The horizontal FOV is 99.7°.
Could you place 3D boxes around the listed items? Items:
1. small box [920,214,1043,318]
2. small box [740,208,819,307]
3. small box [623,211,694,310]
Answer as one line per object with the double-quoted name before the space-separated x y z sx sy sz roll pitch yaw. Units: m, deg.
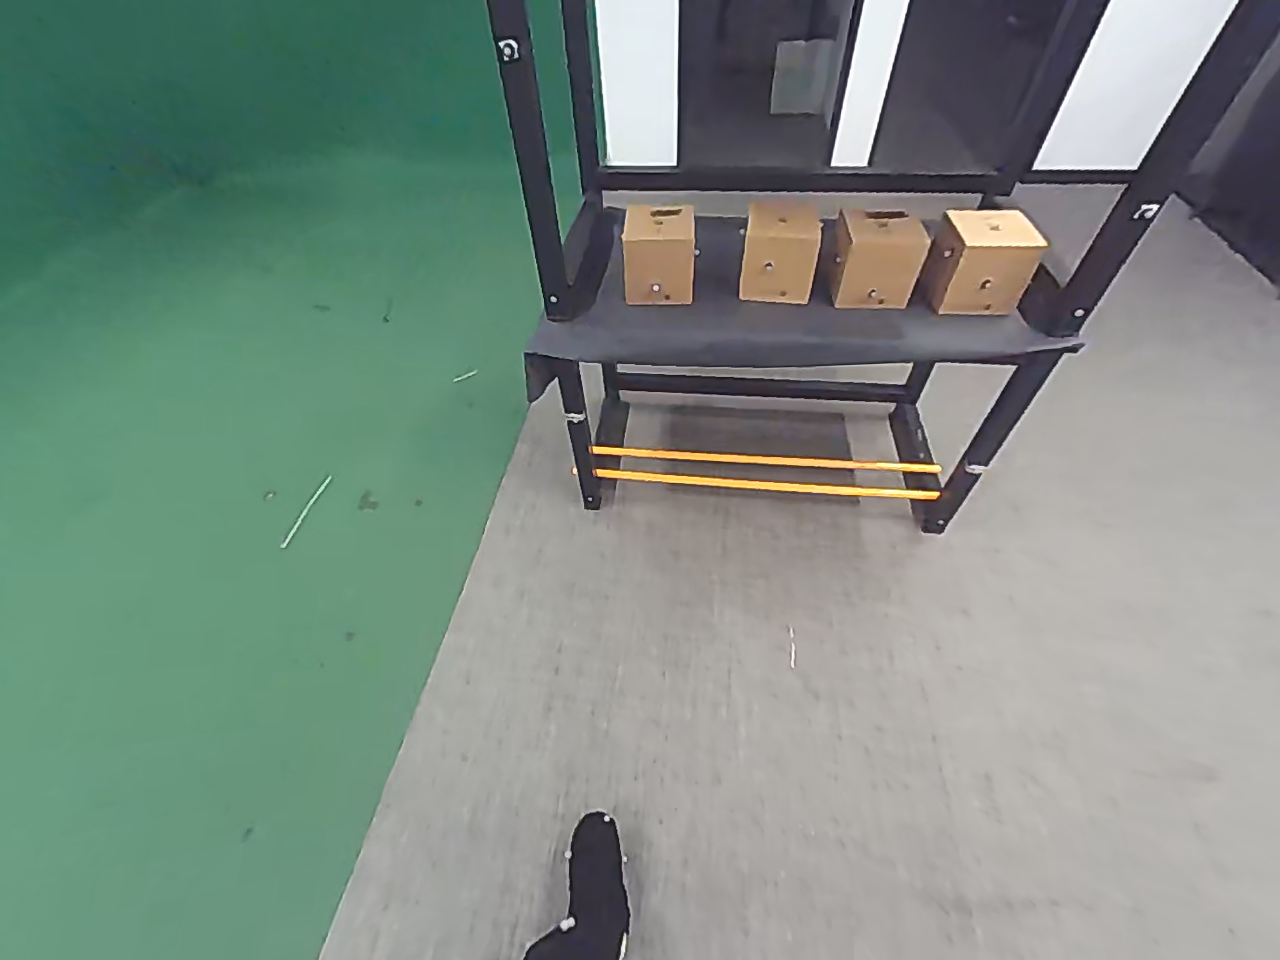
"small box" 0.776 -0.492 1.251 0.168 0.176 0.179 2 49 5
"small box" 0.337 -0.541 1.321 0.168 0.176 0.179 6 50 8
"small box" 0.048 -0.541 1.332 0.168 0.176 0.179 1 50 3
